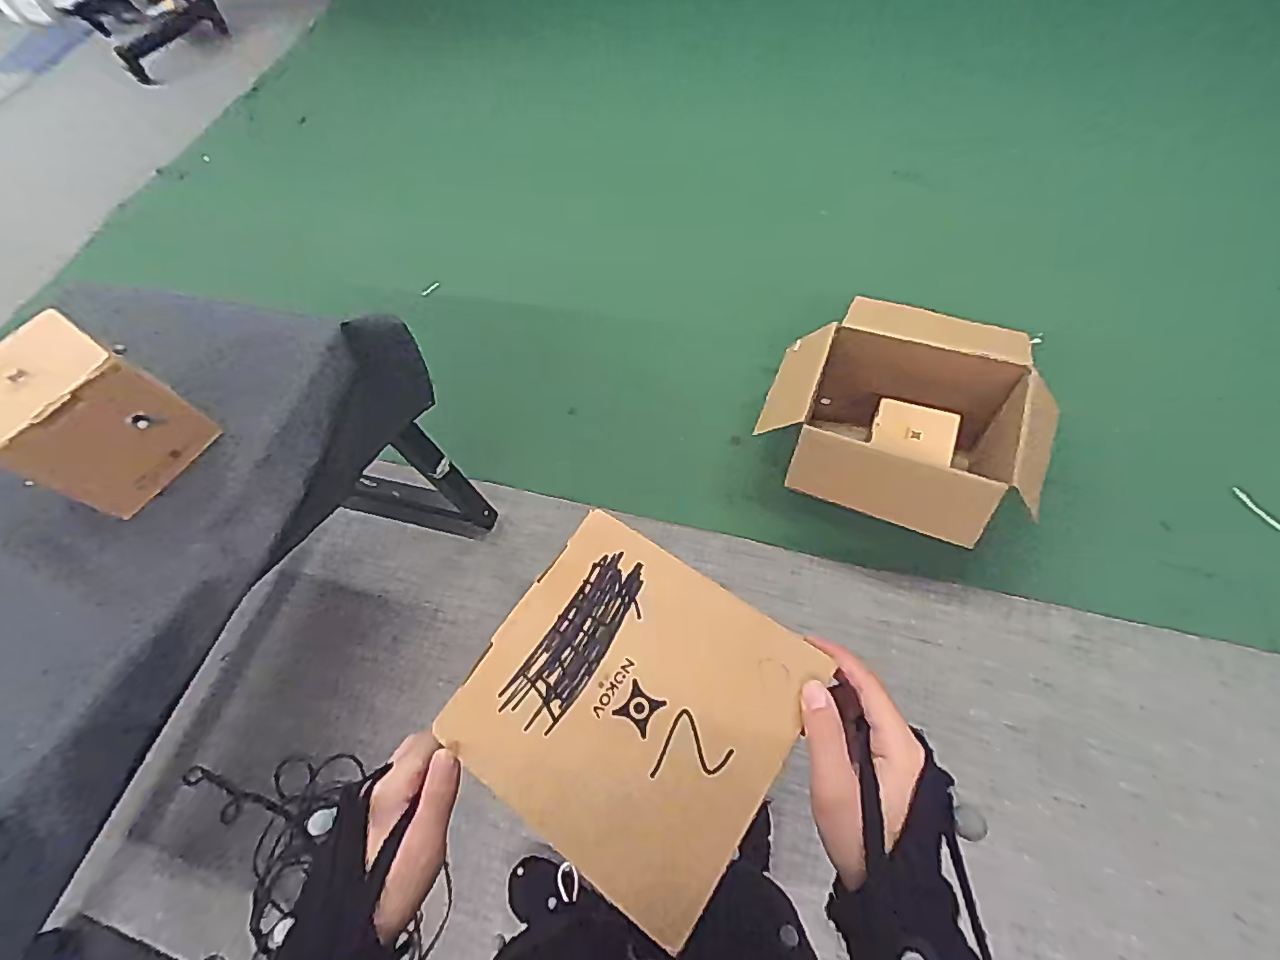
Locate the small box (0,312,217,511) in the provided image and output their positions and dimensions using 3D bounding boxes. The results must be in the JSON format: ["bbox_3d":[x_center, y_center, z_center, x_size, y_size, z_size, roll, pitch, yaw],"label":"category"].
[{"bbox_3d":[-0.721,-0.082,0.712,0.179,0.176,0.168,28,69,22],"label":"small box"}]
